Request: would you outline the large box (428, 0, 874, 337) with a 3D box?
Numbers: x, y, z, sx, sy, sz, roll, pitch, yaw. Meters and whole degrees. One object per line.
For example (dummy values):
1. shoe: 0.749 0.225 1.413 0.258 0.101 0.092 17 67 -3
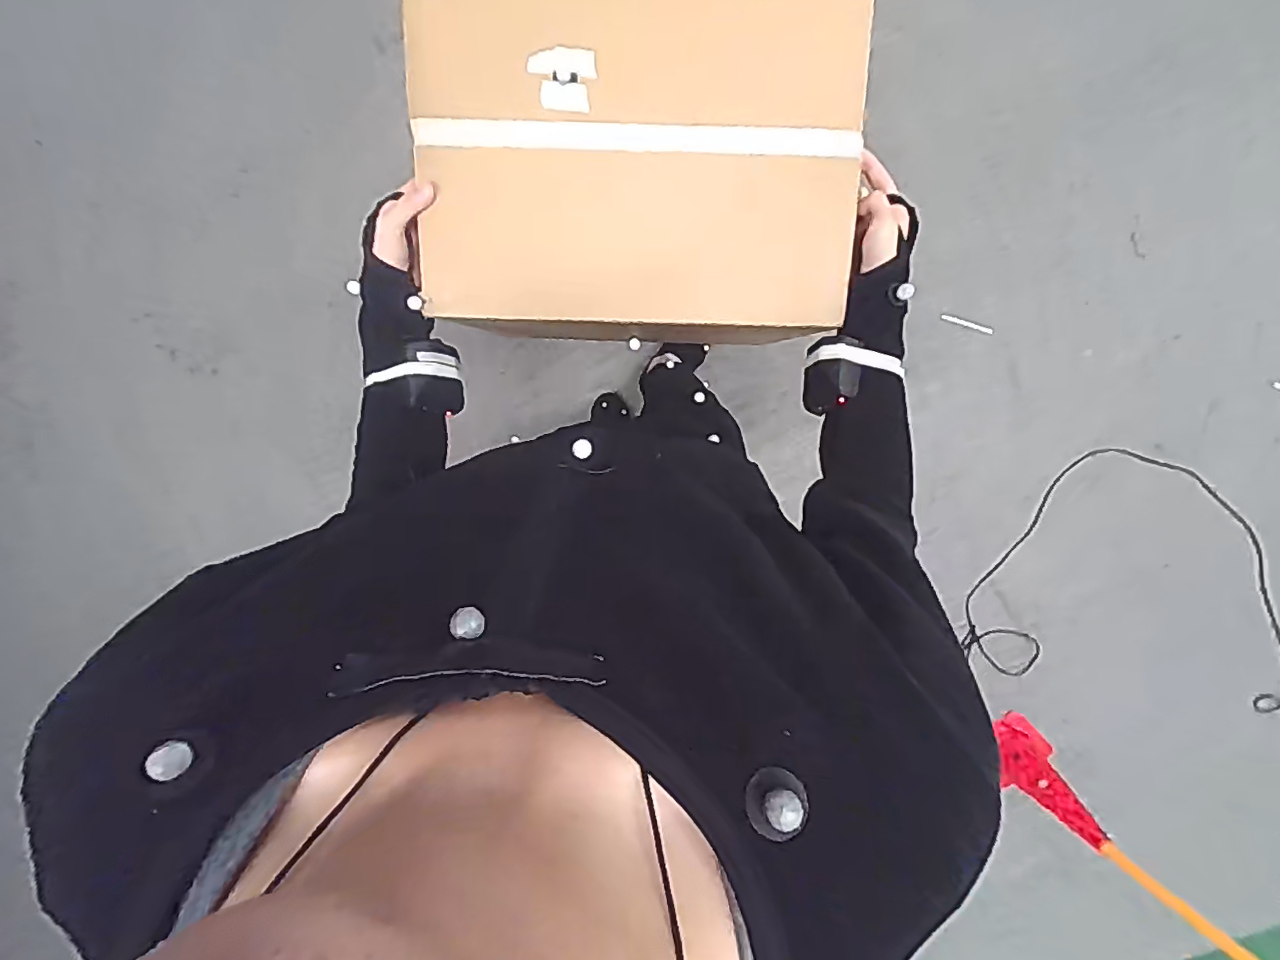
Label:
1. large box: 0.009 -0.339 0.648 0.408 0.320 0.320 2 100 -1
